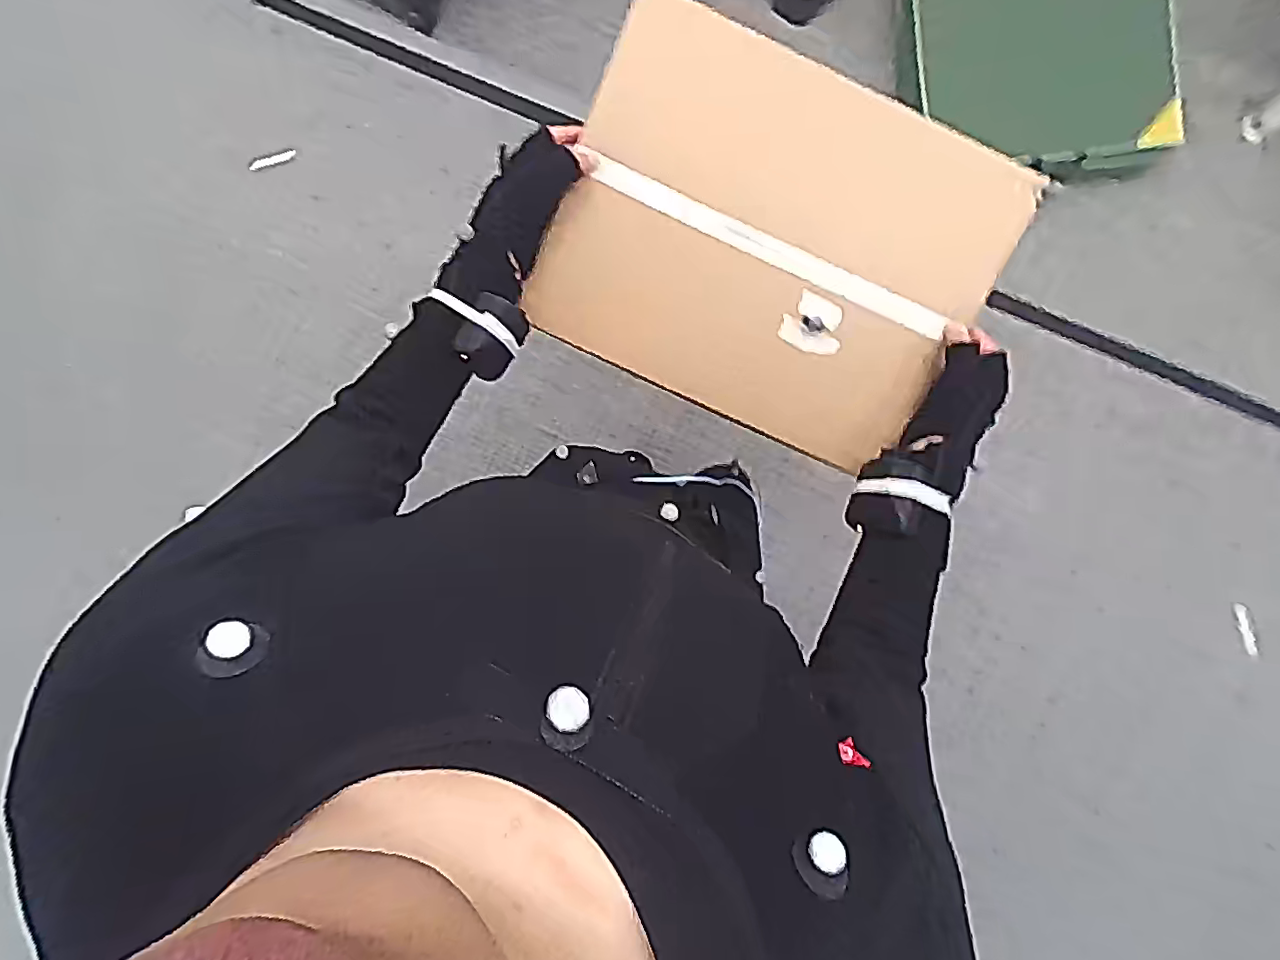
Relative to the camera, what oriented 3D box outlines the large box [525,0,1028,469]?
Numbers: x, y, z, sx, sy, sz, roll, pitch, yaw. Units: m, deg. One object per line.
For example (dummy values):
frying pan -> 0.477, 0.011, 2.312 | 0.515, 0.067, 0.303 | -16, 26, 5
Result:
large box -> 0.126, -0.251, 0.668 | 0.408, 0.320, 0.320 | 25, 101, -3
